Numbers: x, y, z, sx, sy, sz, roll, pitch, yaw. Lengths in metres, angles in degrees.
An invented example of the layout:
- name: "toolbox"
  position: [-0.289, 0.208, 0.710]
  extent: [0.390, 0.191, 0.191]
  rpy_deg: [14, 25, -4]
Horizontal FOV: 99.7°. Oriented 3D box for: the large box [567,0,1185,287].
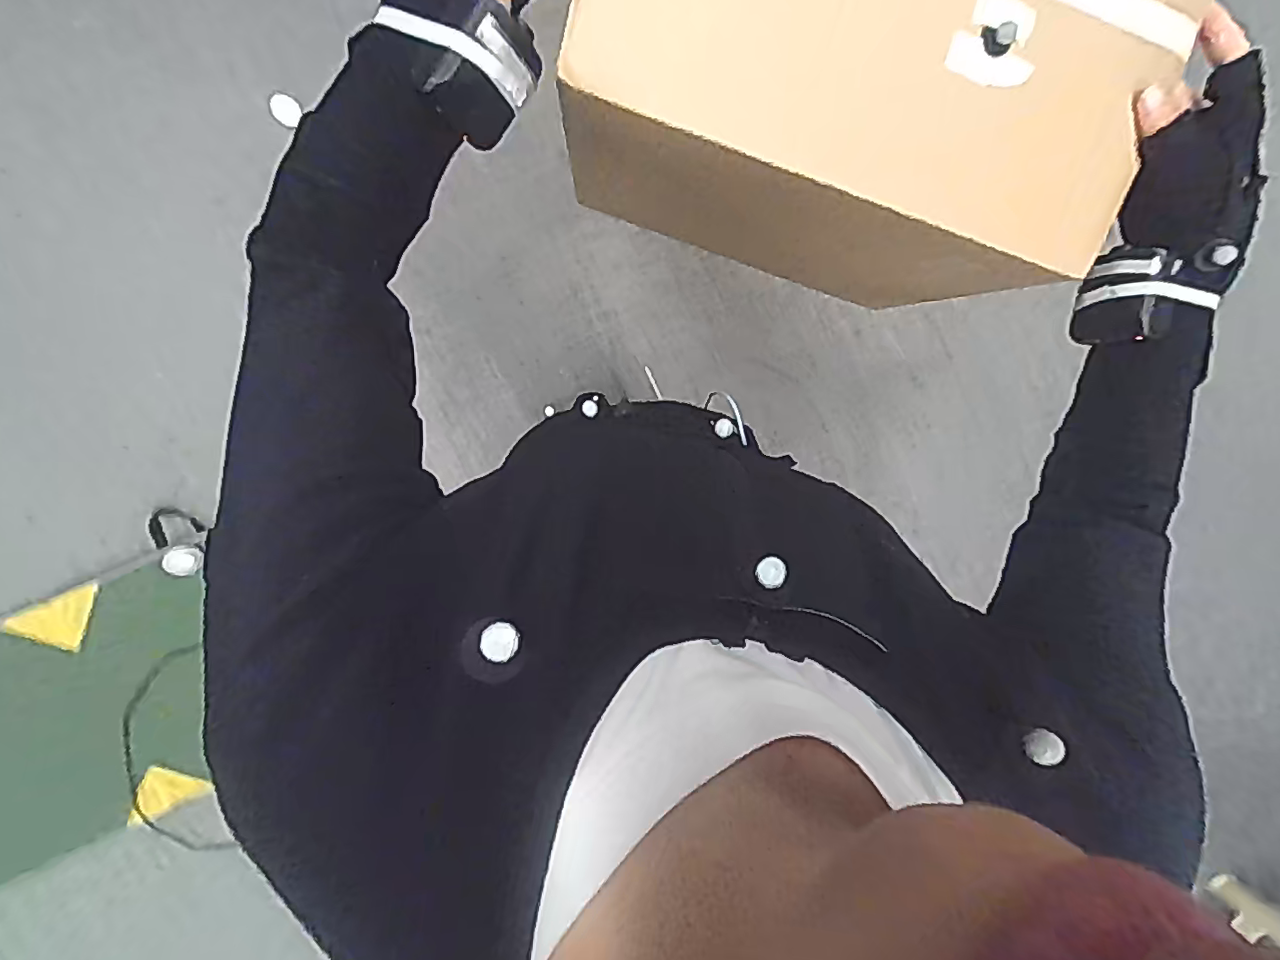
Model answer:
- name: "large box"
  position: [0.164, -0.398, 0.490]
  extent: [0.408, 0.320, 0.320]
  rpy_deg: [15, 103, -9]
